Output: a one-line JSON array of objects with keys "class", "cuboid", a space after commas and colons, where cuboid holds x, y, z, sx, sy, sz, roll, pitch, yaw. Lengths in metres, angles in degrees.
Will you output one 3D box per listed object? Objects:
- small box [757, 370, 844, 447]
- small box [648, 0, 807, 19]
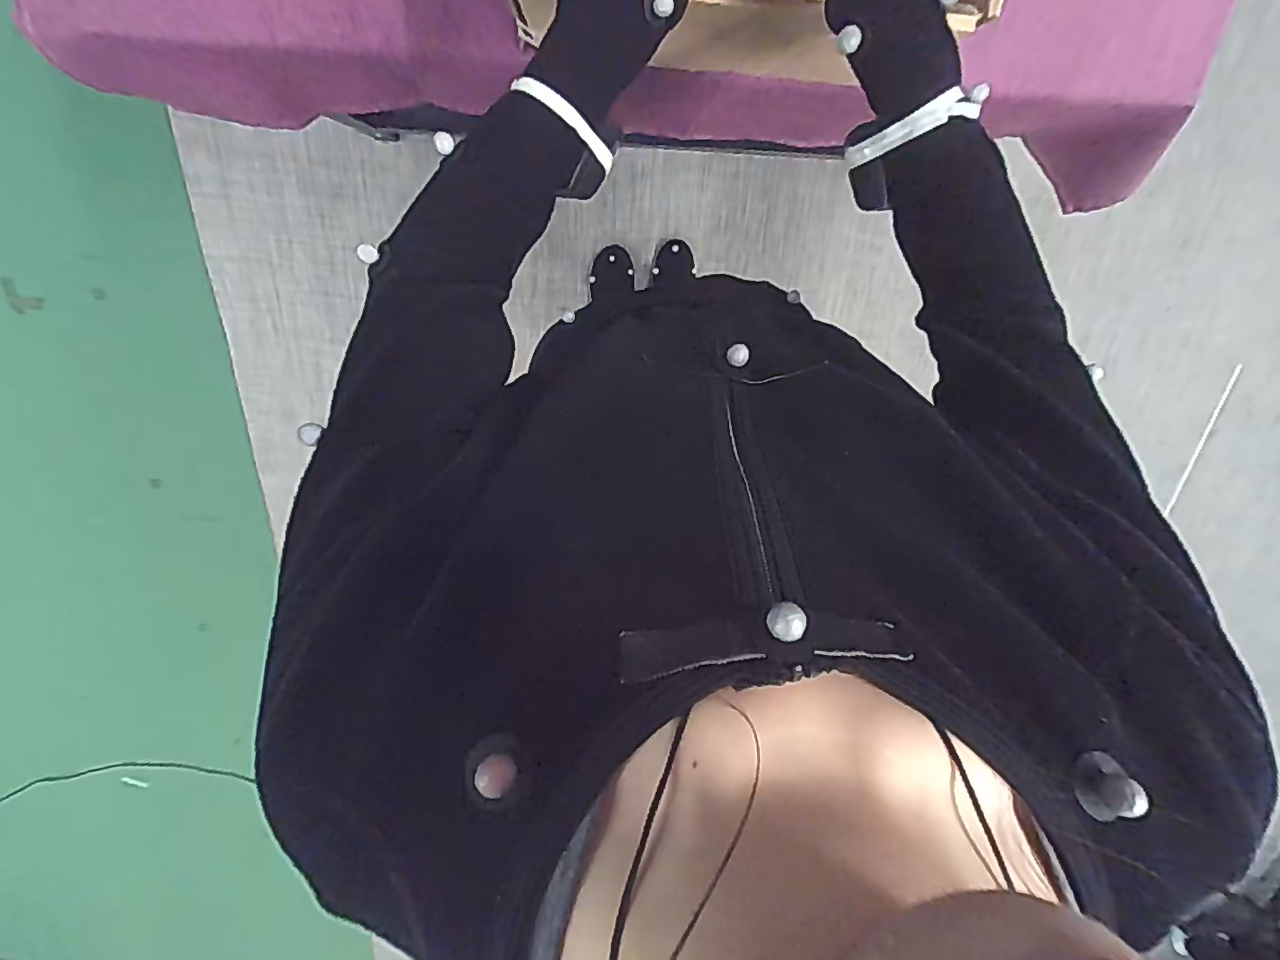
[{"class": "small box", "cuboid": [0.413, -0.192, 1.425, 0.179, 0.176, 0.168, -4, 112, -2]}, {"class": "small box", "cuboid": [0.084, -0.508, 0.422, 0.168, 0.176, 0.179, 2, 113, -3]}]
